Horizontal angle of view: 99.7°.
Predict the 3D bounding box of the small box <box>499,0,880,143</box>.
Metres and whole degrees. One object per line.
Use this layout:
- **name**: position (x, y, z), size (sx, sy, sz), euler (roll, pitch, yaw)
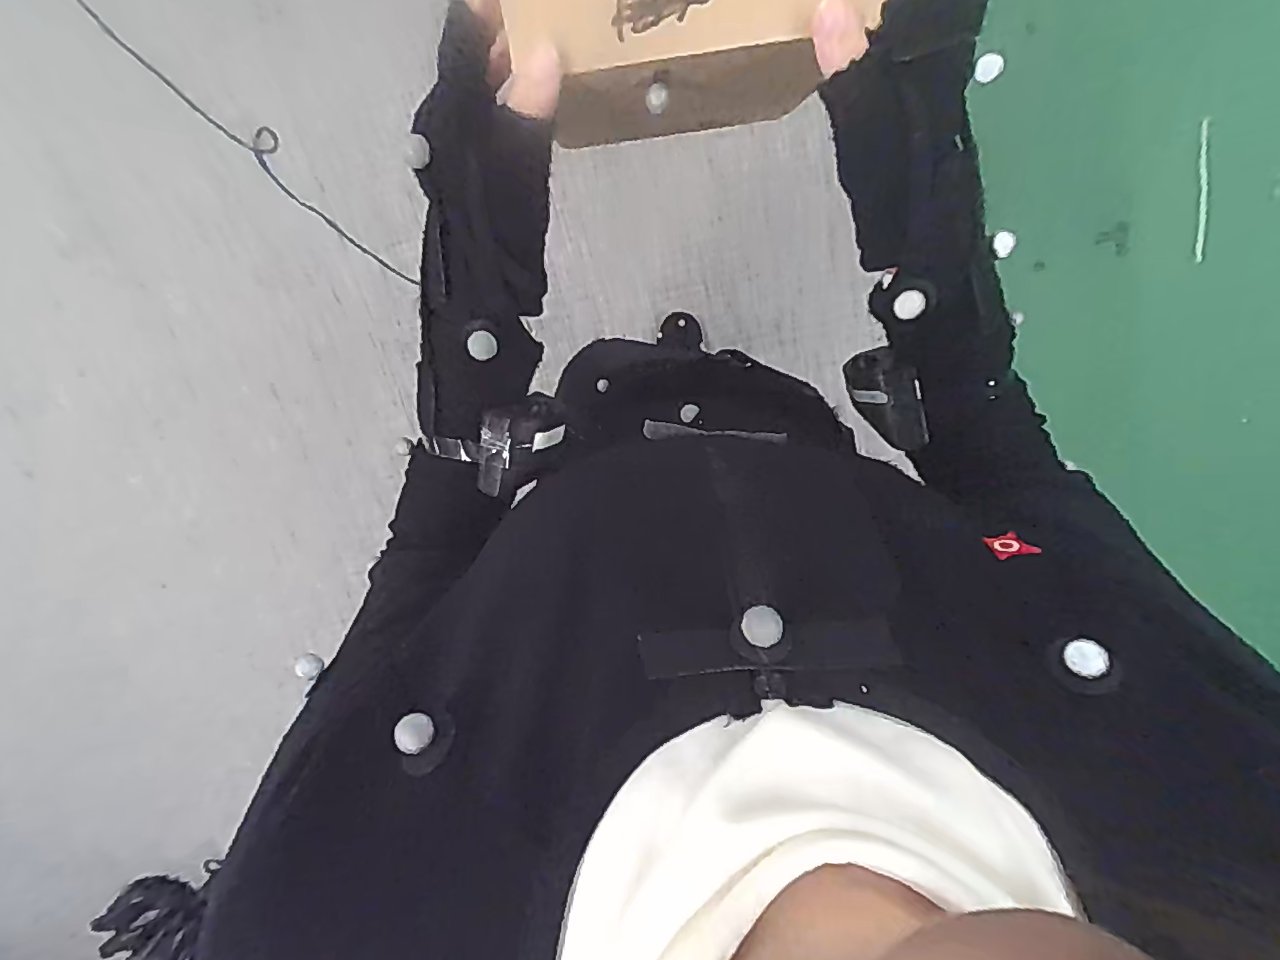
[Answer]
- **small box**: position (0.012, -0.301, 0.278), size (0.168, 0.176, 0.179), euler (-7, 111, 3)
